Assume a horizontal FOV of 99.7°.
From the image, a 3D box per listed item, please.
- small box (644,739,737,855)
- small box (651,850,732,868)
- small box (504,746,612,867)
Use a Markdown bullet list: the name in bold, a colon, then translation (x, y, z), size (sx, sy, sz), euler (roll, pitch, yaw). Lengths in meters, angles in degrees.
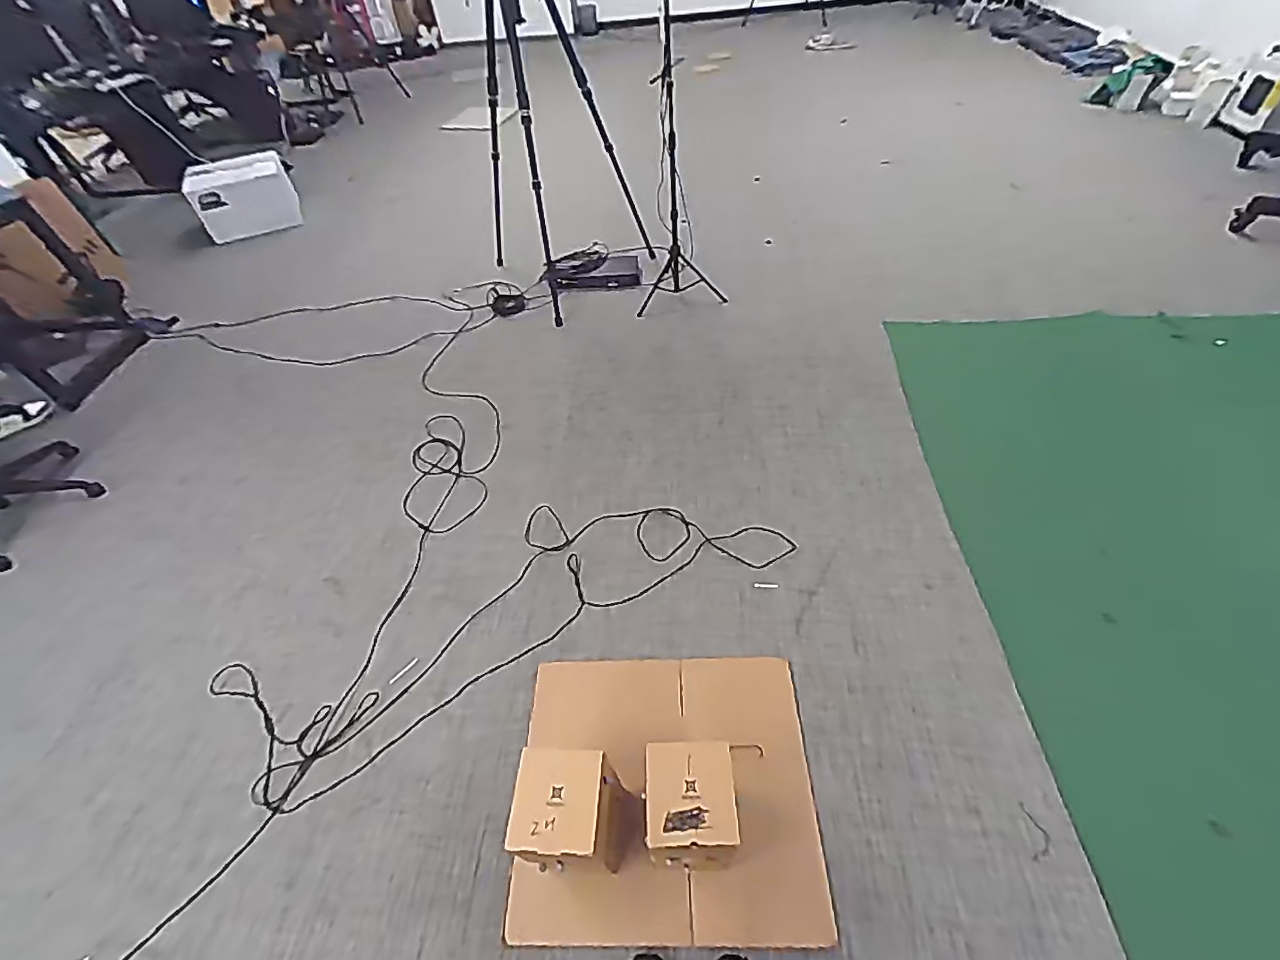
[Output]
- **small box**: translation (0.097, 0.629, 1.066), size (0.168, 0.176, 0.179), euler (-3, 49, 2)
- **small box**: translation (0.107, 0.739, 1.189), size (0.168, 0.176, 0.179), euler (-3, 50, 3)
- **small box**: translation (-0.151, 0.647, 1.073), size (0.168, 0.176, 0.179), euler (-1, 49, 7)
